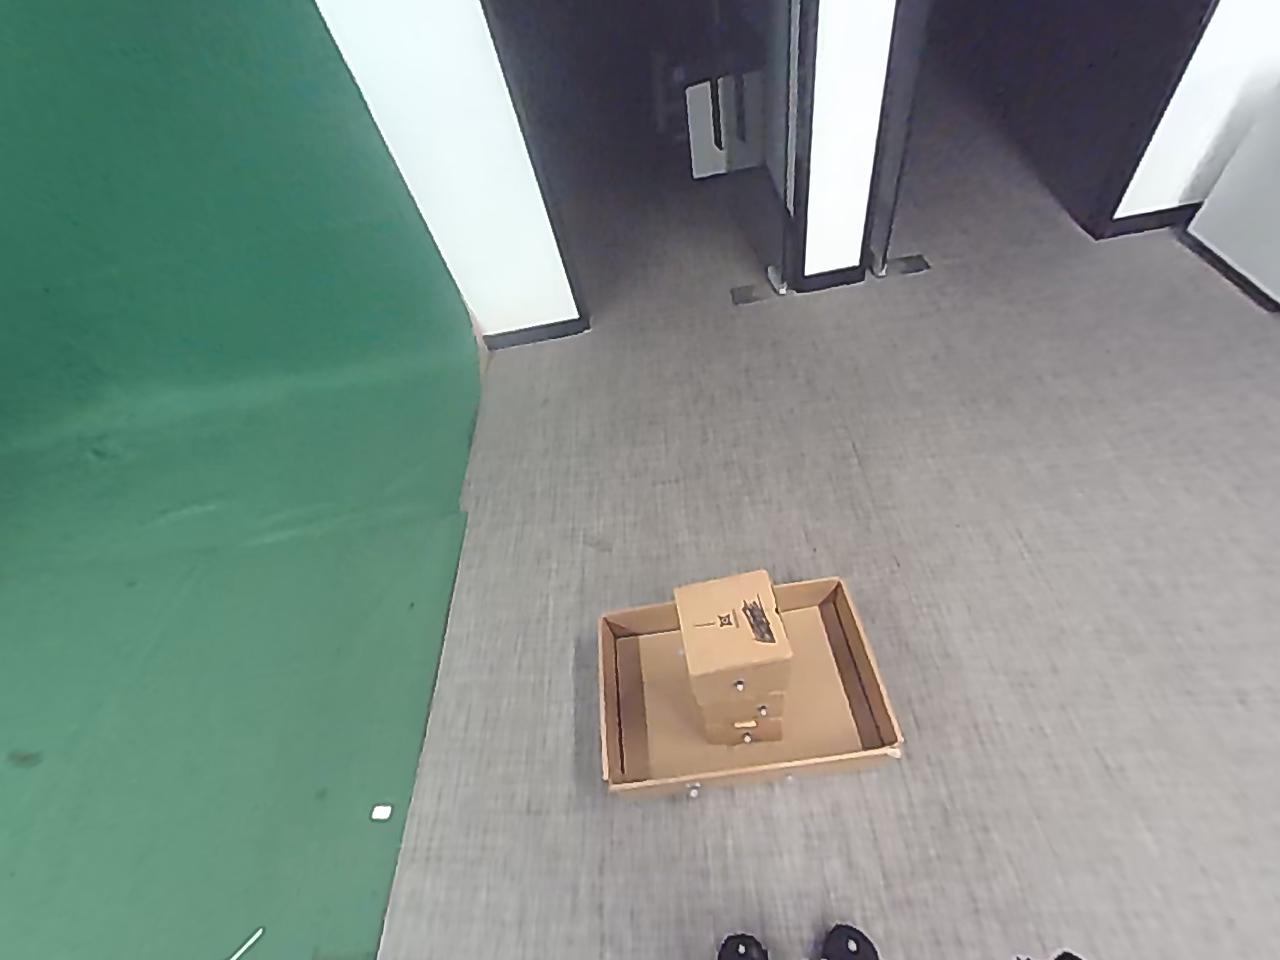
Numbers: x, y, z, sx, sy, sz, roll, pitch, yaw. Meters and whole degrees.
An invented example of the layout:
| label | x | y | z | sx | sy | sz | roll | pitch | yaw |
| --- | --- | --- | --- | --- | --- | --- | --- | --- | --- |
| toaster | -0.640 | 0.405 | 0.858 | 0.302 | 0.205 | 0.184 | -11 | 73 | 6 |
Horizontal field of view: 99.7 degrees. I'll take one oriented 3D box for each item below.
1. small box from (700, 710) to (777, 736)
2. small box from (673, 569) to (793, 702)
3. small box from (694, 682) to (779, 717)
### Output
| label | x | y | z | sx | sy | sz | roll | pitch | yaw |
| --- | --- | --- | --- | --- | --- | --- | --- | --- | --- |
| small box | 0.224 | 0.486 | 1.256 | 0.168 | 0.176 | 0.179 | -8 | 51 | 7 |
| small box | 0.167 | 0.291 | 1.001 | 0.179 | 0.176 | 0.168 | -14 | 51 | 1 |
| small box | 0.195 | 0.385 | 1.132 | 0.168 | 0.176 | 0.179 | -8 | 50 | 6 |
